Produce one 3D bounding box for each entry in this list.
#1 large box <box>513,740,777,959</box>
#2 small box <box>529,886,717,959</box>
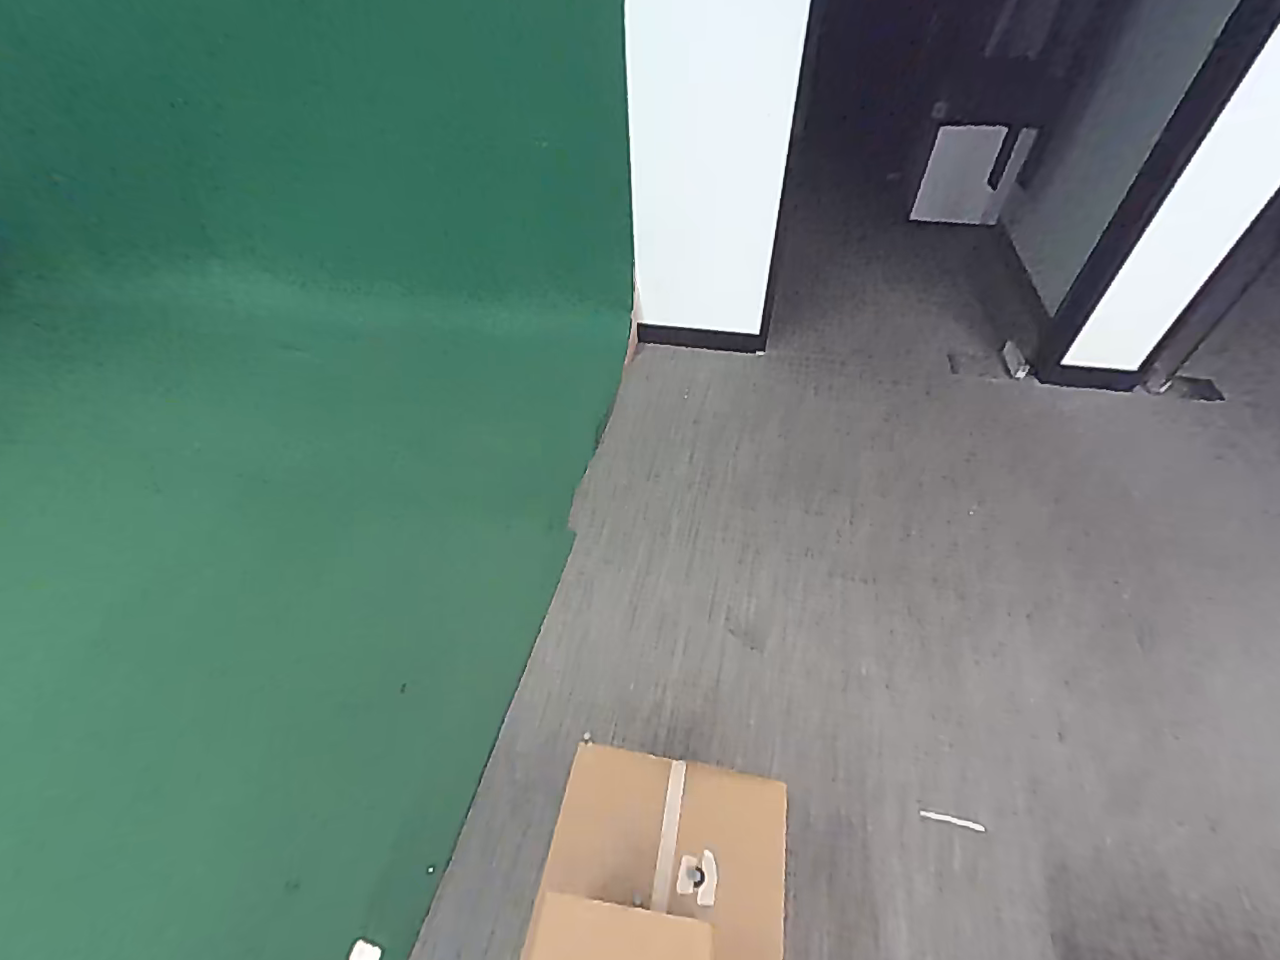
[{"bbox_3d":[0.016,0.661,0.779,0.320,0.320,0.408,8,47,10],"label":"large box"},{"bbox_3d":[-0.020,0.536,0.541,0.179,0.176,0.168,4,45,10],"label":"small box"}]
